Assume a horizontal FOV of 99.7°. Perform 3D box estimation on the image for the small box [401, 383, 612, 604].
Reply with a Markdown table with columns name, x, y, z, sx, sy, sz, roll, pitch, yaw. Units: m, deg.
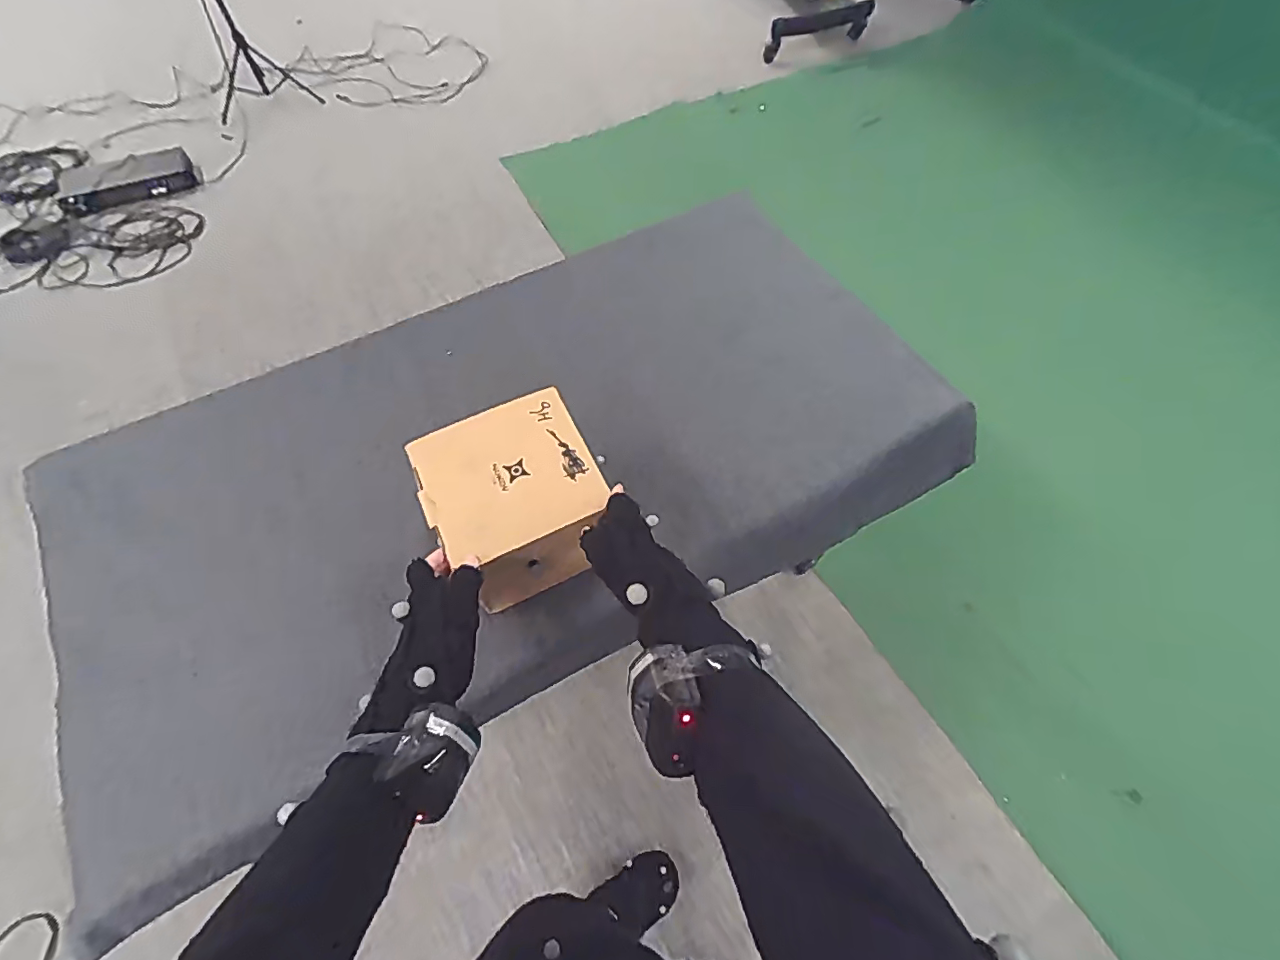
| name | x | y | z | sx | sy | sz | roll | pitch | yaw |
| --- | --- | --- | --- | --- | --- | --- | --- | --- | --- |
| small box | -0.144 | 0.025 | 0.635 | 0.179 | 0.176 | 0.168 | -25 | 67 | -11 |
